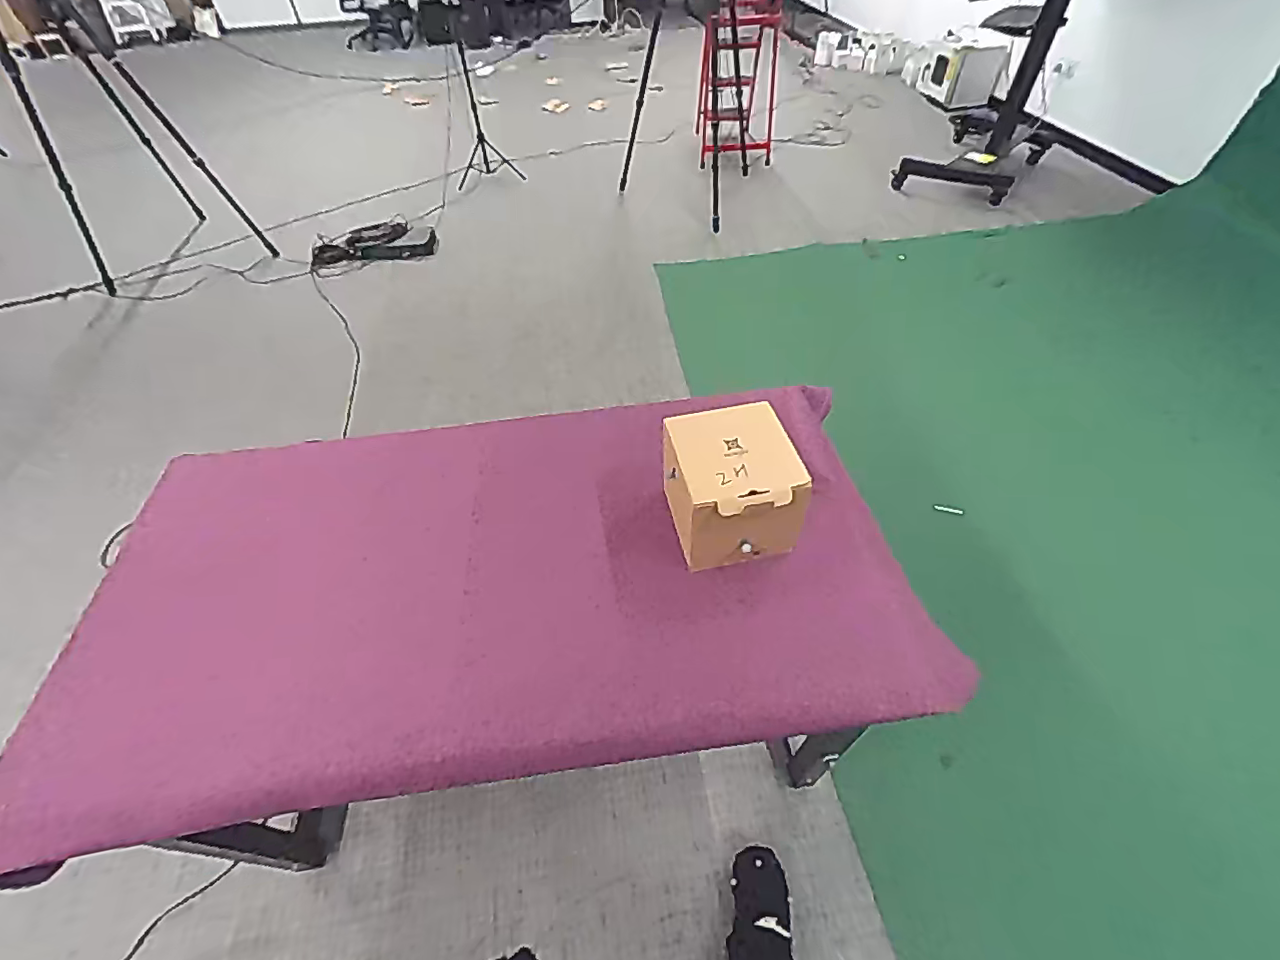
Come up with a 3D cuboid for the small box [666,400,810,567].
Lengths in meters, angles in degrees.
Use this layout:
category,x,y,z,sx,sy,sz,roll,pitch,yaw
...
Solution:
category,x,y,z,sx,sy,sz,roll,pitch,yaw
small box,0.134,0.007,0.824,0.168,0.176,0.179,-10,51,-5
